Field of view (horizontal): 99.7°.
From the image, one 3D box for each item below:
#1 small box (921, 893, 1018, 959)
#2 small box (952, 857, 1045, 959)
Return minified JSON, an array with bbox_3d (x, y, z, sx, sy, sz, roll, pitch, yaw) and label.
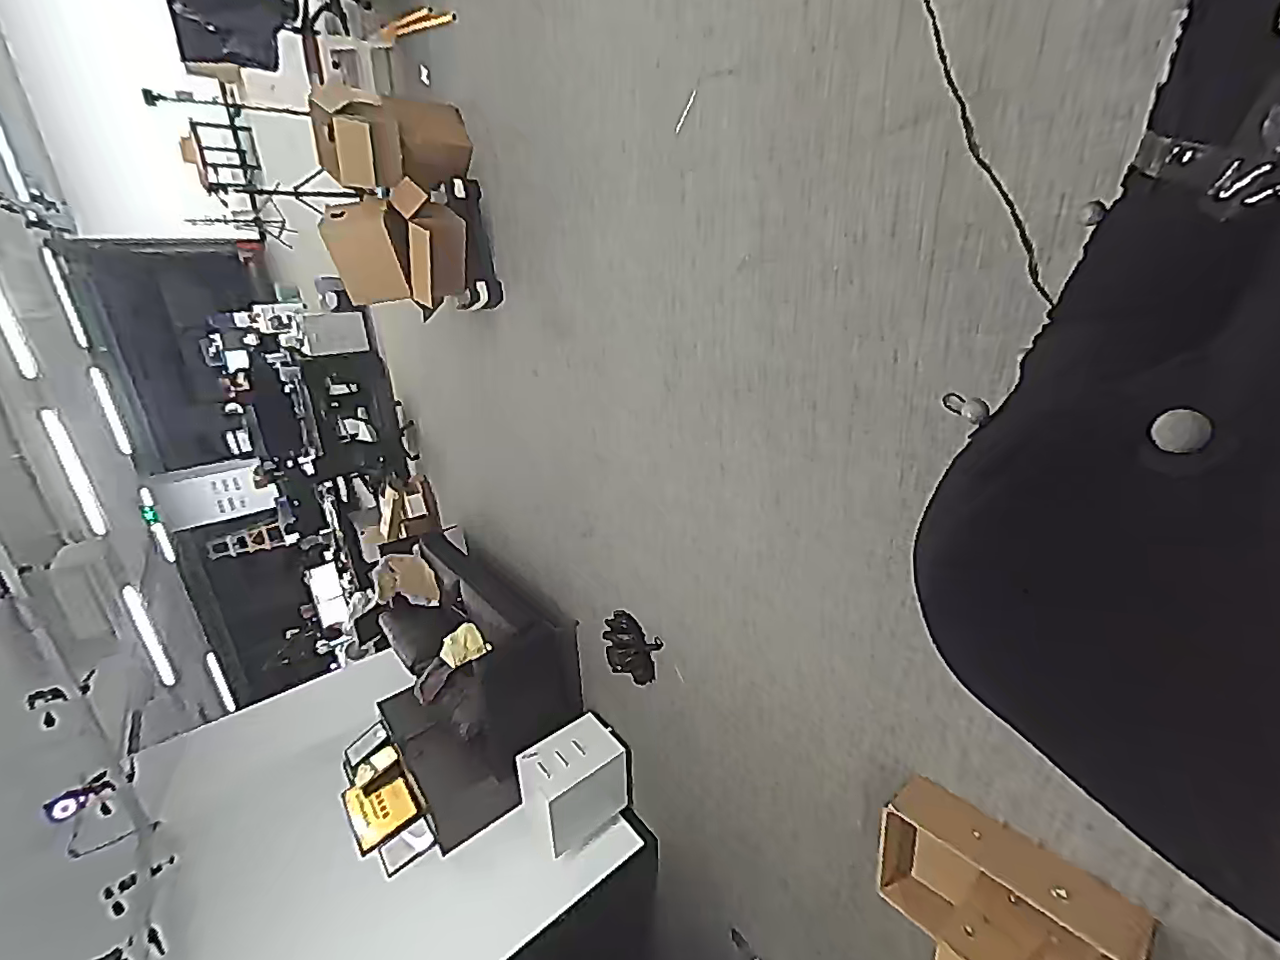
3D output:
[{"bbox_3d":[0.875,1.265,1.438,0.168,0.176,0.179,19,122,51],"label":"small box"},{"bbox_3d":[1.003,1.215,1.523,0.179,0.176,0.168,16,118,49],"label":"small box"}]
